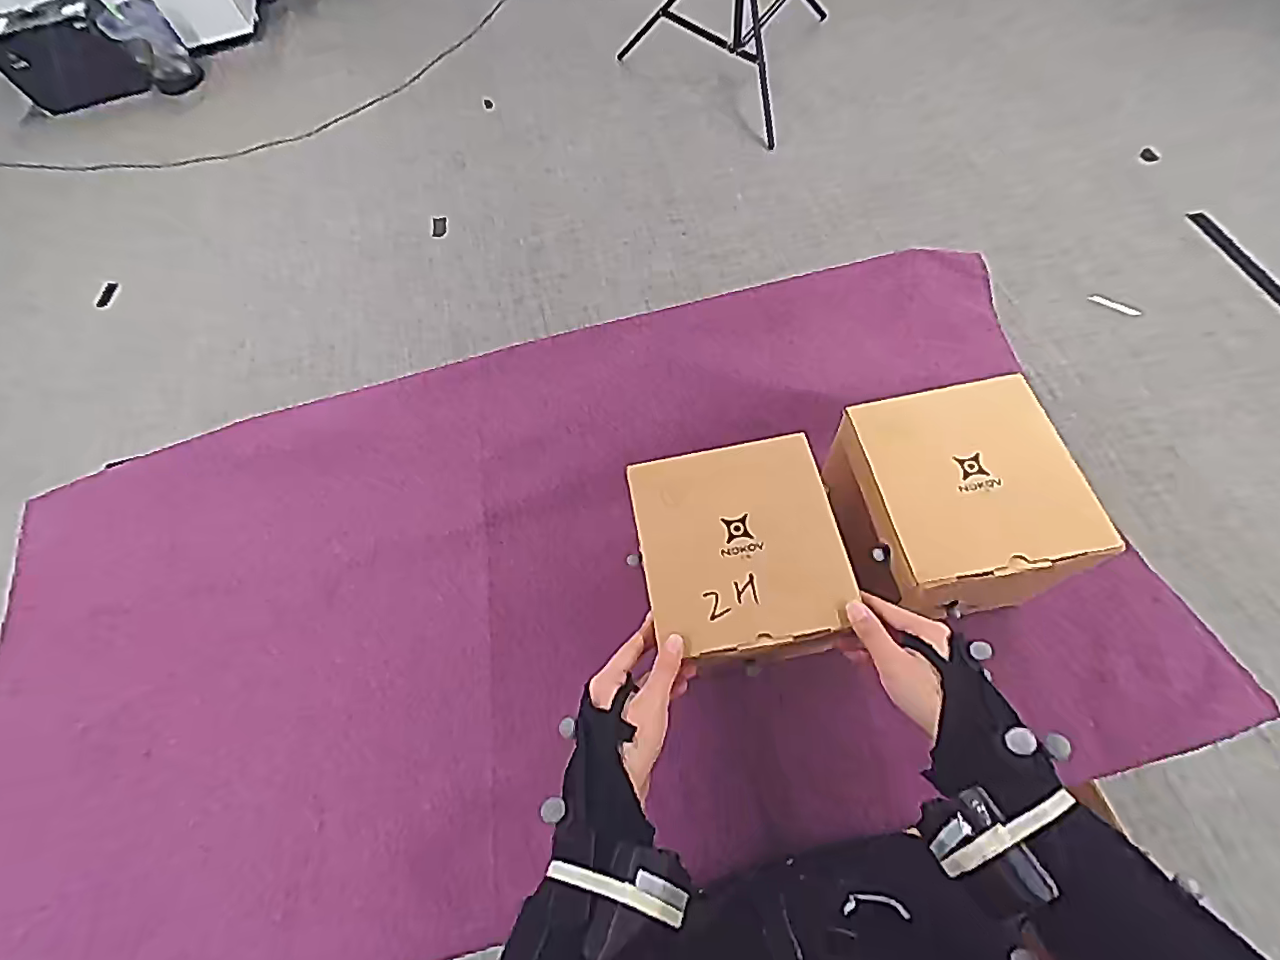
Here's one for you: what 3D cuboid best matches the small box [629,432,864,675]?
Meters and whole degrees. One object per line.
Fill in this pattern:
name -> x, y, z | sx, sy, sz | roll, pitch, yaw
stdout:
small box -> 0.088, 0.080, 0.526 | 0.168, 0.176, 0.179 | -11, 65, 1

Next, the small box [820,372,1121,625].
small box -> 0.290, 0.026, 0.530 | 0.168, 0.176, 0.179 | -12, 63, 2
